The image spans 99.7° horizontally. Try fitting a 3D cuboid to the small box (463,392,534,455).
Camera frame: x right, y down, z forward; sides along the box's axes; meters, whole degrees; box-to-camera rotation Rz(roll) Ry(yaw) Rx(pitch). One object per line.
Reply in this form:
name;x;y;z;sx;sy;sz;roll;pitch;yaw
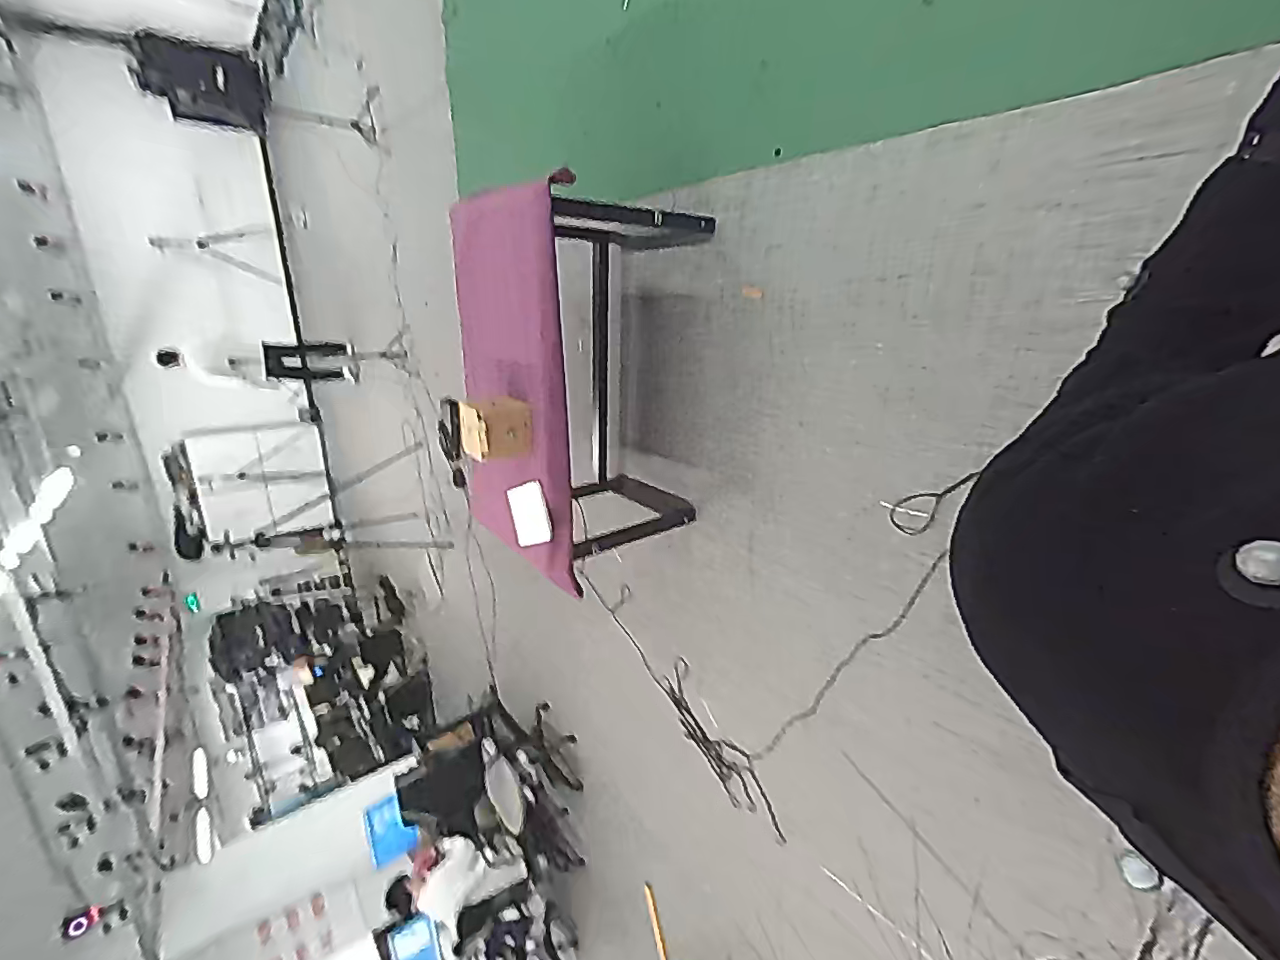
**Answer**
small box;-0.458;-0.191;1.768;0.179;0.176;0.168;23;118;46
